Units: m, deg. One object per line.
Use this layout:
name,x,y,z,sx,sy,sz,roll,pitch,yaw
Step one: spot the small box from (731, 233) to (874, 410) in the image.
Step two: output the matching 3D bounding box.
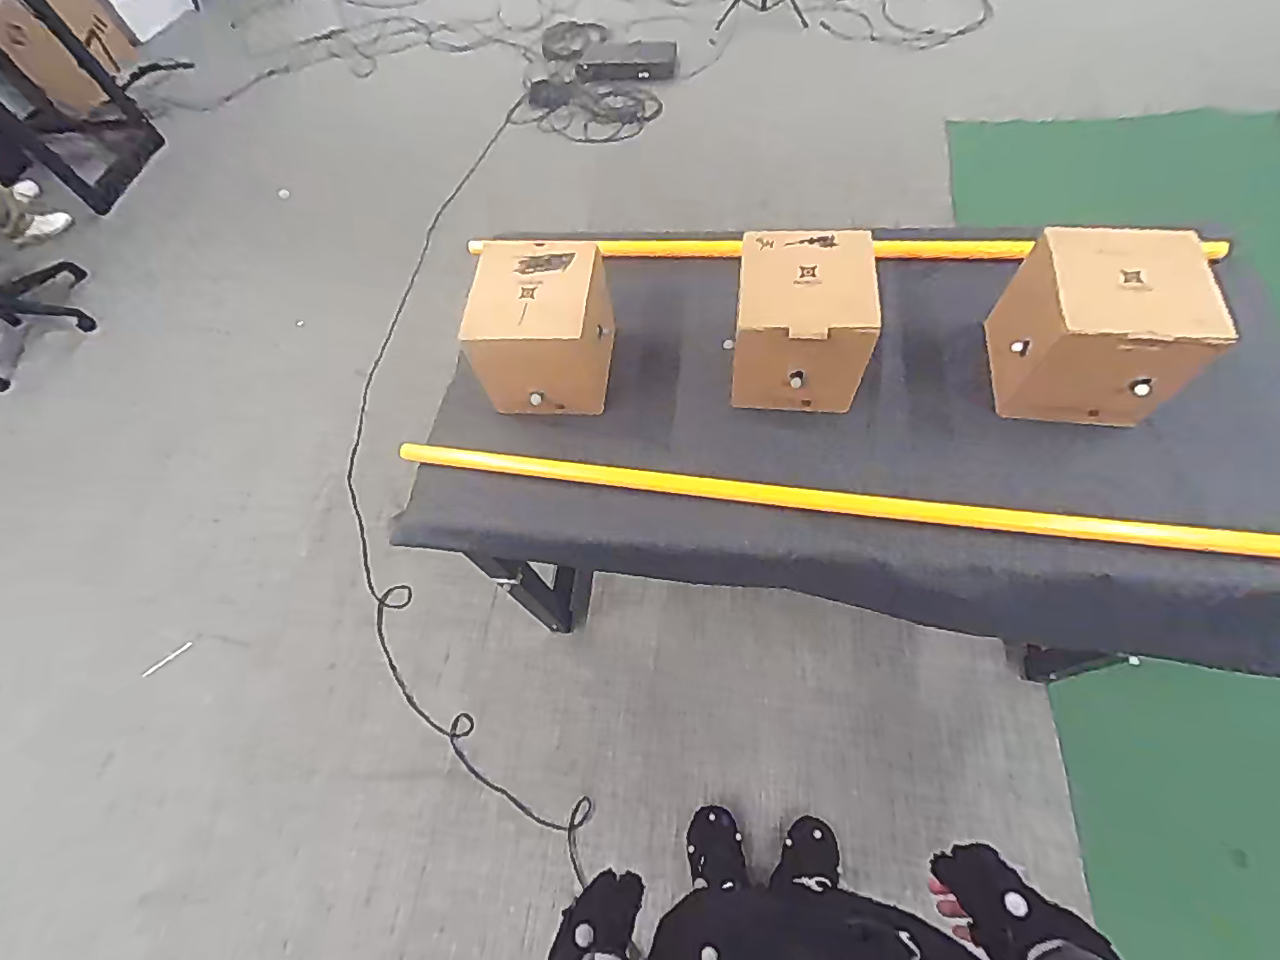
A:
small box,0.214,-0.211,0.753,0.168,0.176,0.179,1,61,9

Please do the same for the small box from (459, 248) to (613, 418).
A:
small box,-0.137,-0.212,0.792,0.168,0.176,0.179,2,63,8

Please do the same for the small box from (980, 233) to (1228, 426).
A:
small box,0.568,-0.187,0.695,0.168,0.176,0.179,7,61,9
